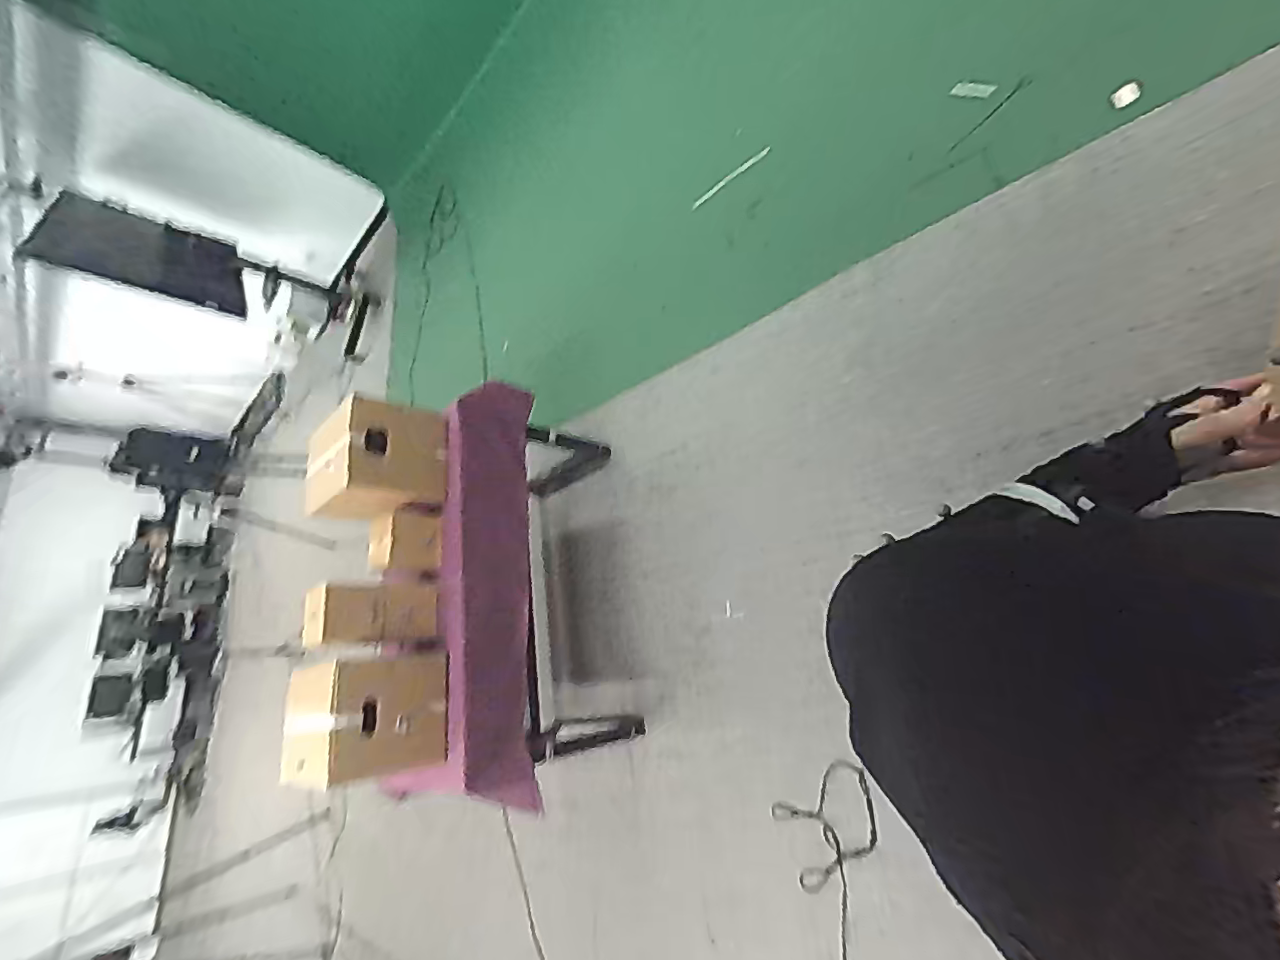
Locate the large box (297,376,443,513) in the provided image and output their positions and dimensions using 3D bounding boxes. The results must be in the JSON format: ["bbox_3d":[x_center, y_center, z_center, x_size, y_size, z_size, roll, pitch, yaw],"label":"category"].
[{"bbox_3d":[-0.914,-0.097,1.838,0.408,0.320,0.320,-20,69,39],"label":"large box"}]
